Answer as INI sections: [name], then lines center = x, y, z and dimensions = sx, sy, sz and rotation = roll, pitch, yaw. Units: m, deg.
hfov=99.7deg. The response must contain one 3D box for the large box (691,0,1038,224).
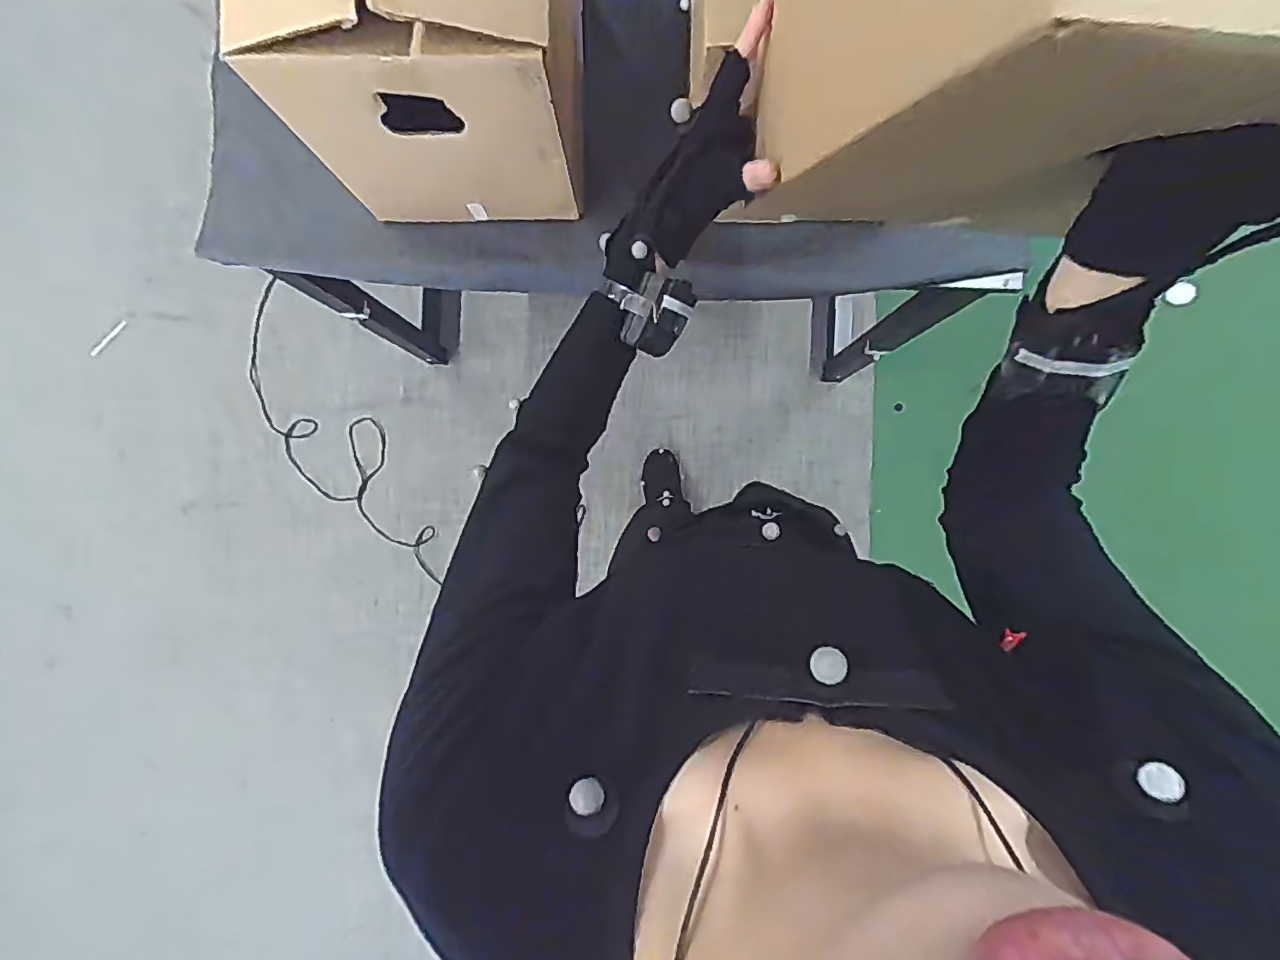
[large box]
center = 0.220, -0.583, 0.658
dimensions = 0.320, 0.320, 0.408
rotation = 1, 87, 2
